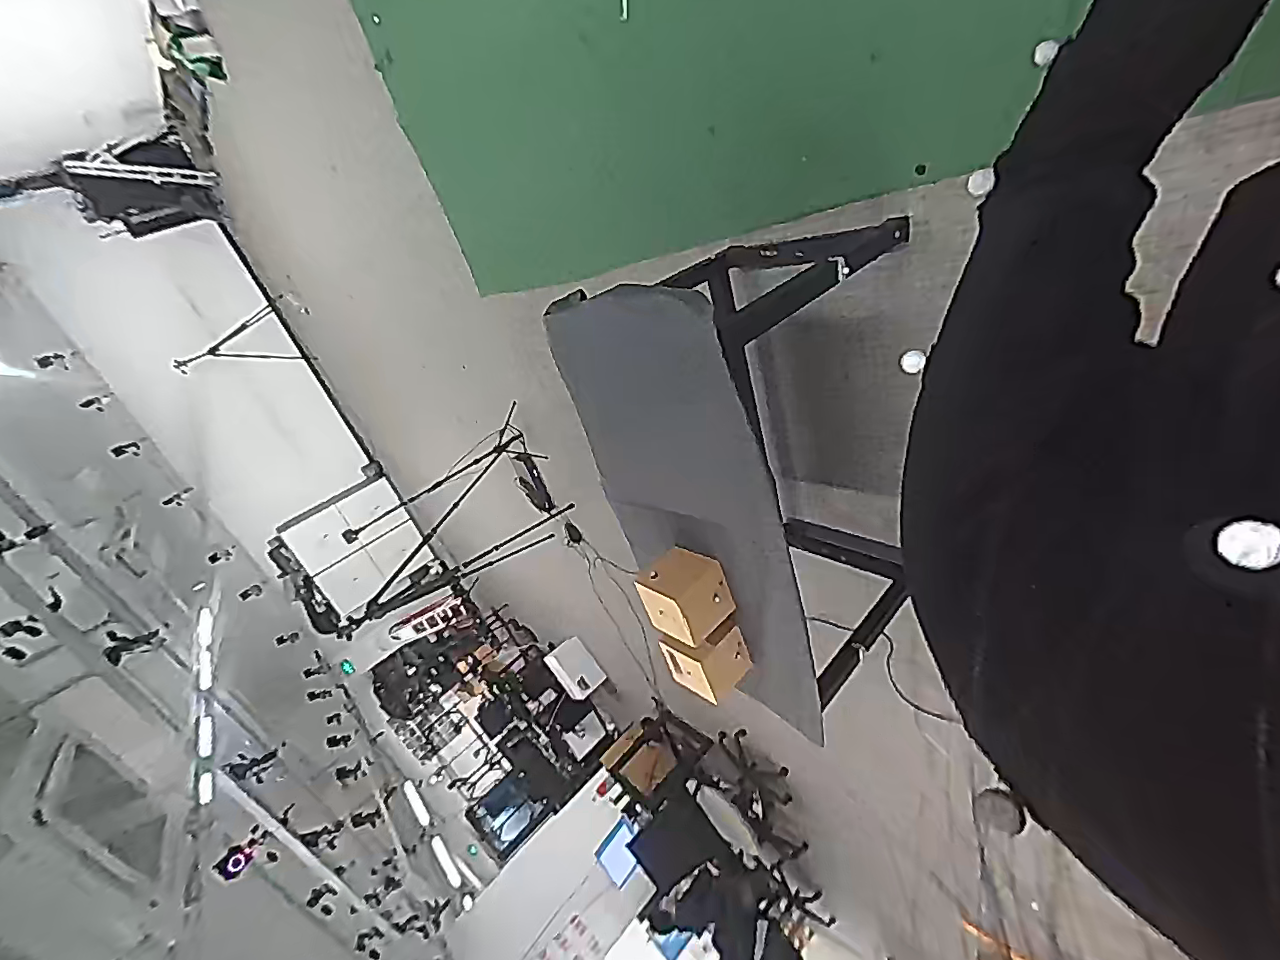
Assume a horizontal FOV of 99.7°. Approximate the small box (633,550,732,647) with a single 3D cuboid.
[{"bbox_3d":[0.116,0.309,1.455,0.179,0.176,0.168,12,131,51],"label":"small box"}]
